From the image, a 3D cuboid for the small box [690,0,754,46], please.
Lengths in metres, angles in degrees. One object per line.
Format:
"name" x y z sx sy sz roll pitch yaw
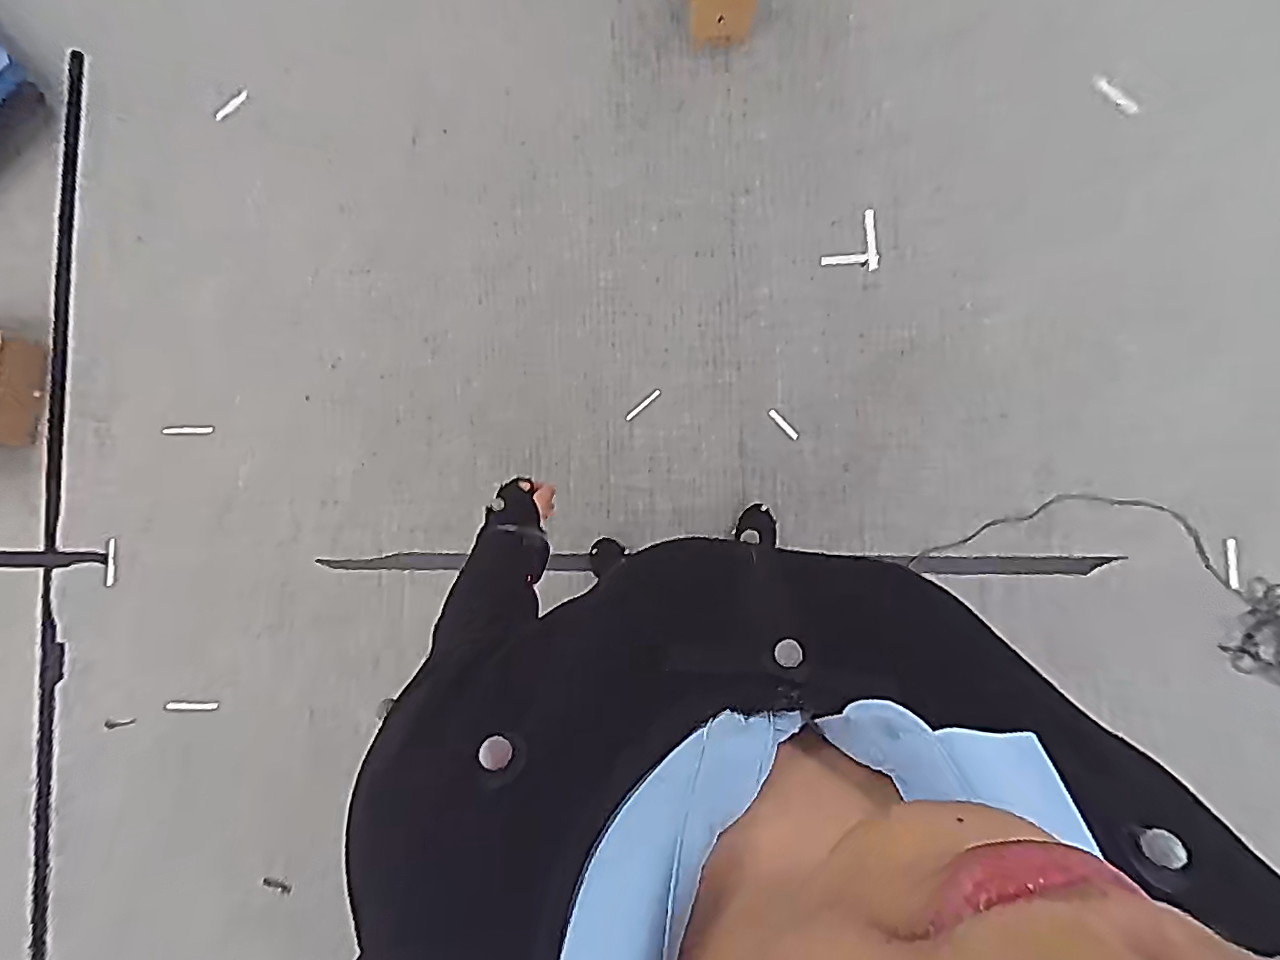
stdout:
"small box" 0.229 -1.367 1.522 0.168 0.176 0.179 -3 85 3
